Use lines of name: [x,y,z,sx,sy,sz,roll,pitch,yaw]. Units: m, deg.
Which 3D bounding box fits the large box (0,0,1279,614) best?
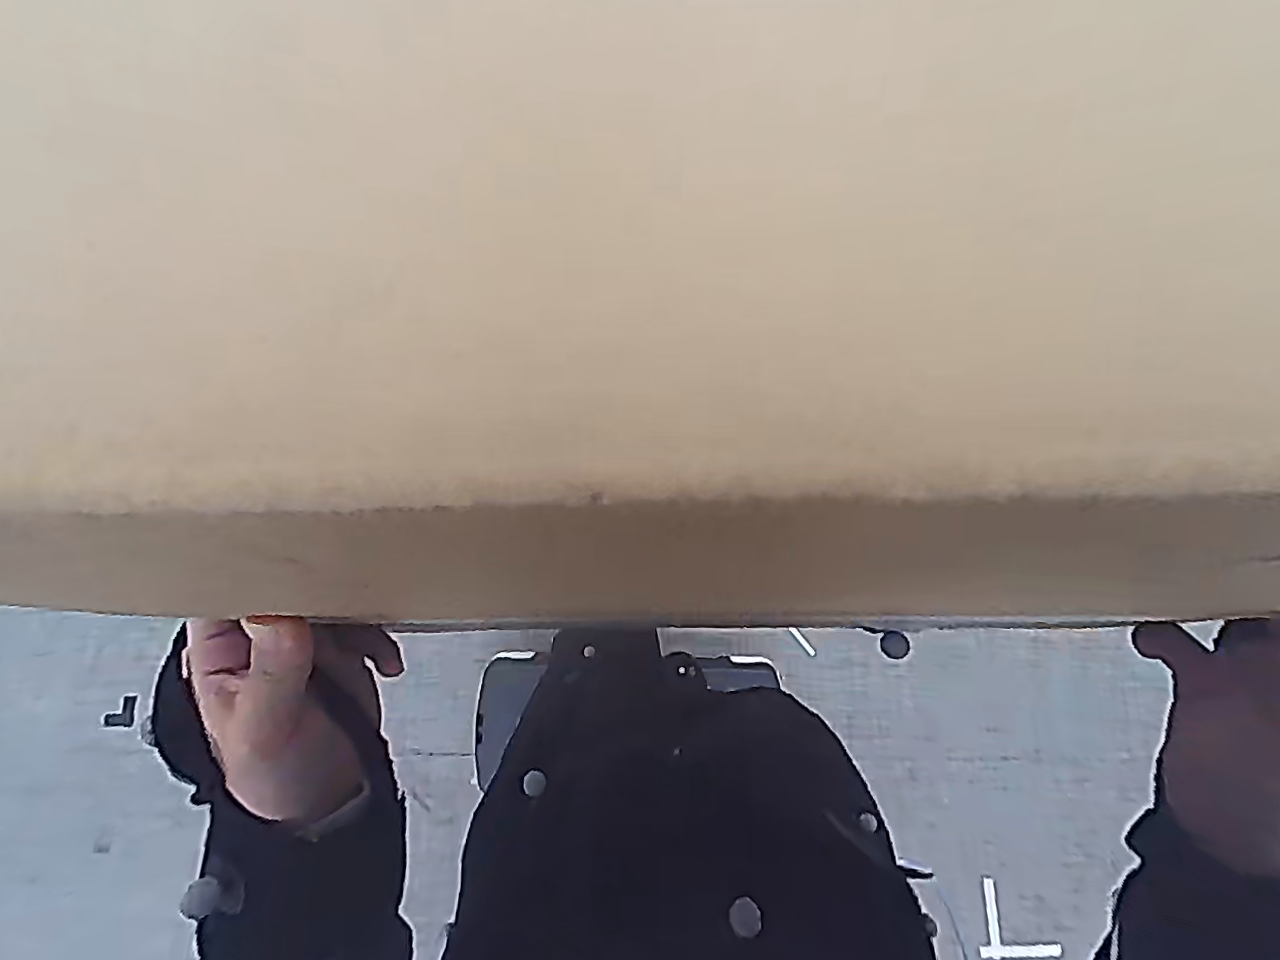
large box: [0.041,-0.109,0.255,0.408,0.320,0.320,-2,73,2]
